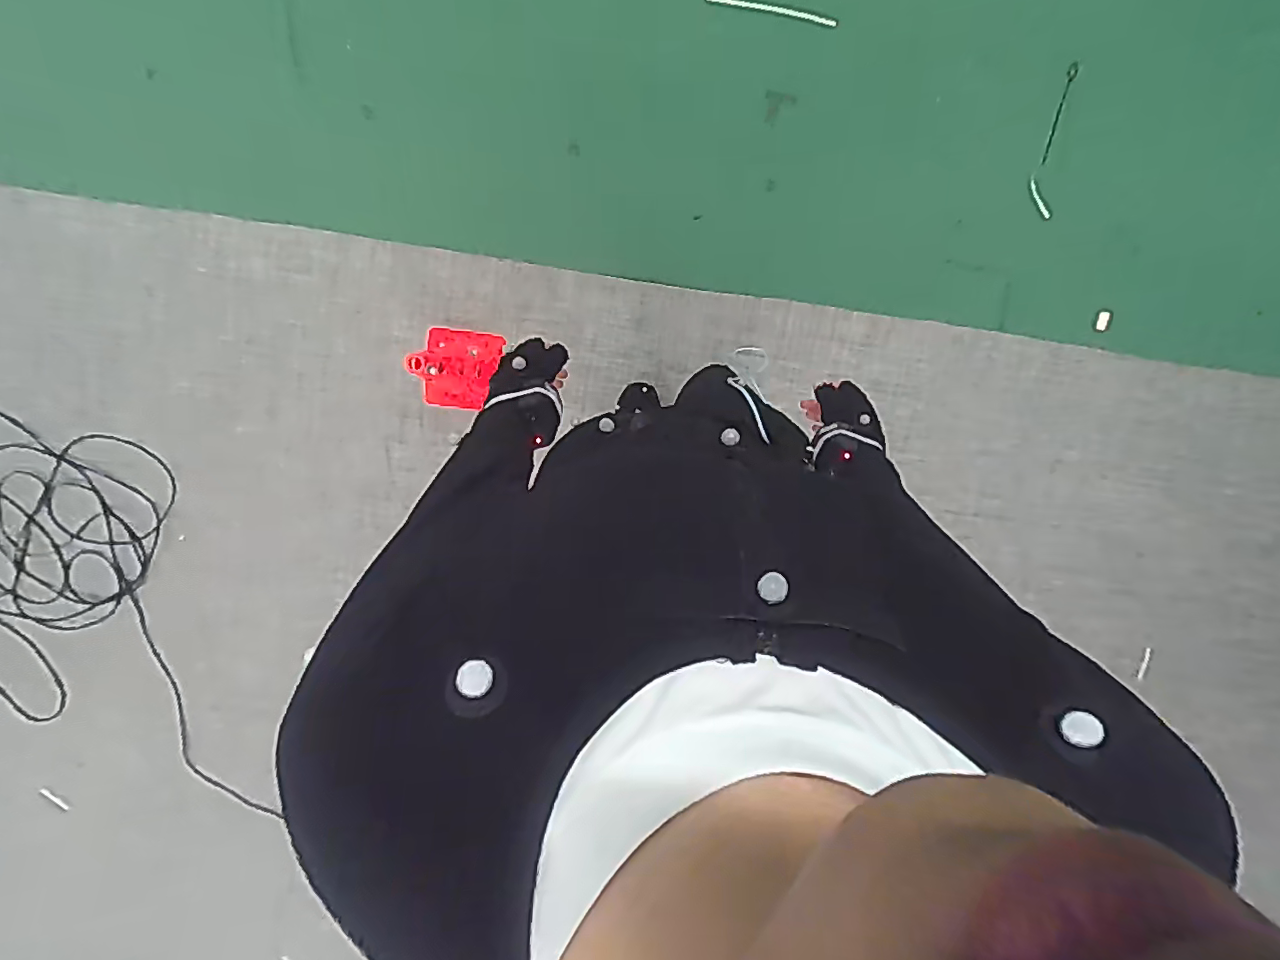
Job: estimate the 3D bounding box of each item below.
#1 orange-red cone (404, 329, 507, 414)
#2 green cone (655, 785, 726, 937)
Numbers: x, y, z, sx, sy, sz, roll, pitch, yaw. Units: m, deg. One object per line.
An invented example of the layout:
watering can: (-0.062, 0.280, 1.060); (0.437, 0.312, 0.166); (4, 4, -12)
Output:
orange-red cone: (-0.446, -0.250, 1.231); (0.198, 0.360, 0.199); (8, 100, -3)
green cone: (0.156, 1.051, 1.474); (0.202, 0.368, 0.200); (6, 99, -2)
